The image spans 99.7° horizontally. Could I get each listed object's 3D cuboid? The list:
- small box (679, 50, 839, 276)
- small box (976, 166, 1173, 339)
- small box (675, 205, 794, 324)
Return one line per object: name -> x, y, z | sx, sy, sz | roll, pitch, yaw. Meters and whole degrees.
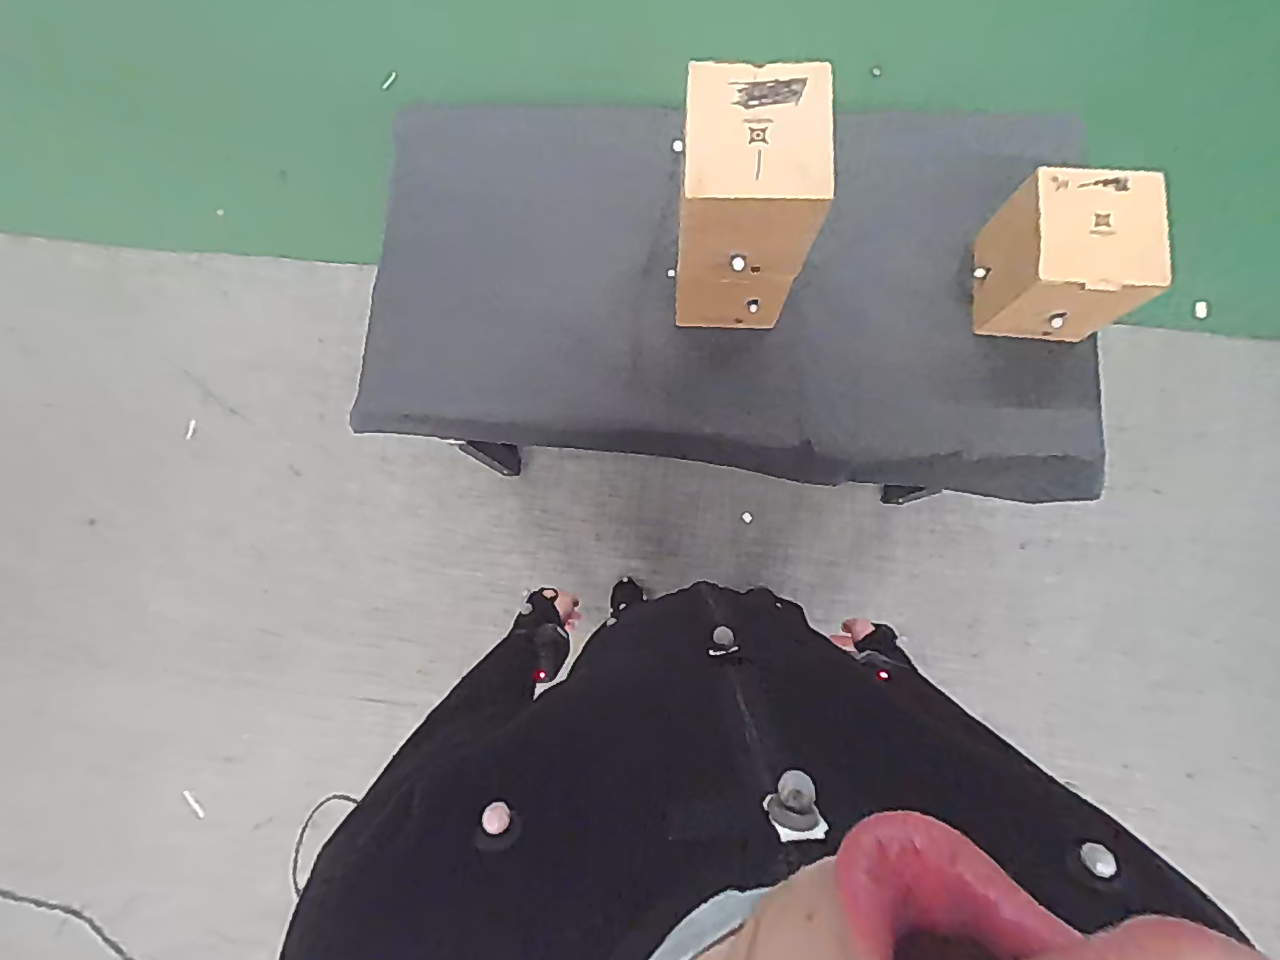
small box -> 0.136, -0.379, 0.668 | 0.168, 0.176, 0.179 | 2, 82, 2
small box -> 0.625, -0.324, 0.799 | 0.168, 0.176, 0.179 | 6, 82, 4
small box -> 0.141, -0.355, 0.831 | 0.168, 0.176, 0.179 | 3, 80, 2
